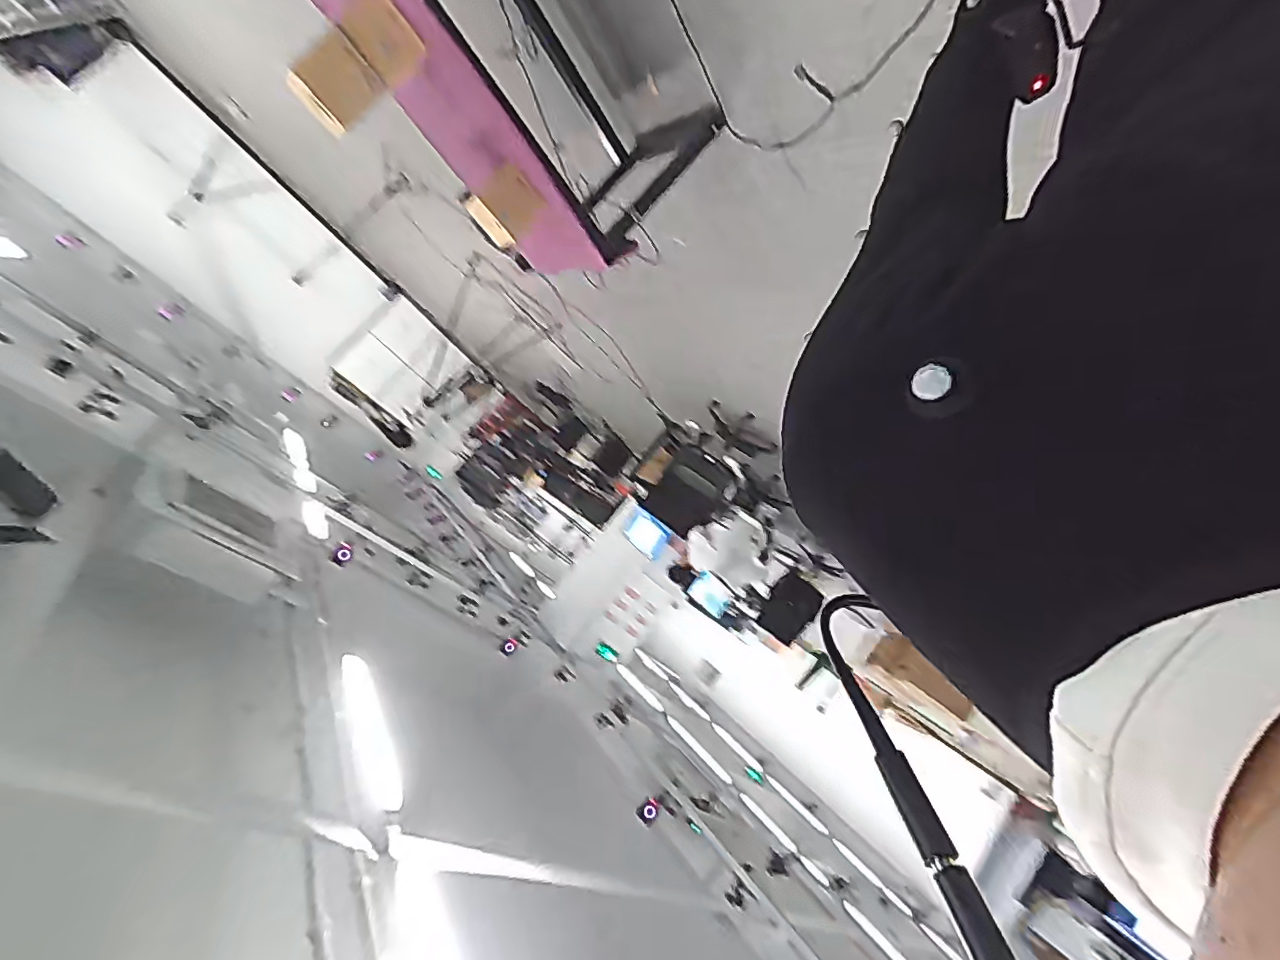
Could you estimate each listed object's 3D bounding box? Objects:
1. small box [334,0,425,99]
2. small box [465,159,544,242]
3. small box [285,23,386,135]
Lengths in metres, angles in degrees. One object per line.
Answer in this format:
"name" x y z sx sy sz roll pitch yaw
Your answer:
"small box" -0.722 -1.209 1.492 0.168 0.176 0.179 45 171 -36
"small box" -0.448 -0.925 1.795 0.168 0.176 0.179 44 170 -32
"small box" -0.820 -1.080 1.462 0.179 0.176 0.168 32 169 50
